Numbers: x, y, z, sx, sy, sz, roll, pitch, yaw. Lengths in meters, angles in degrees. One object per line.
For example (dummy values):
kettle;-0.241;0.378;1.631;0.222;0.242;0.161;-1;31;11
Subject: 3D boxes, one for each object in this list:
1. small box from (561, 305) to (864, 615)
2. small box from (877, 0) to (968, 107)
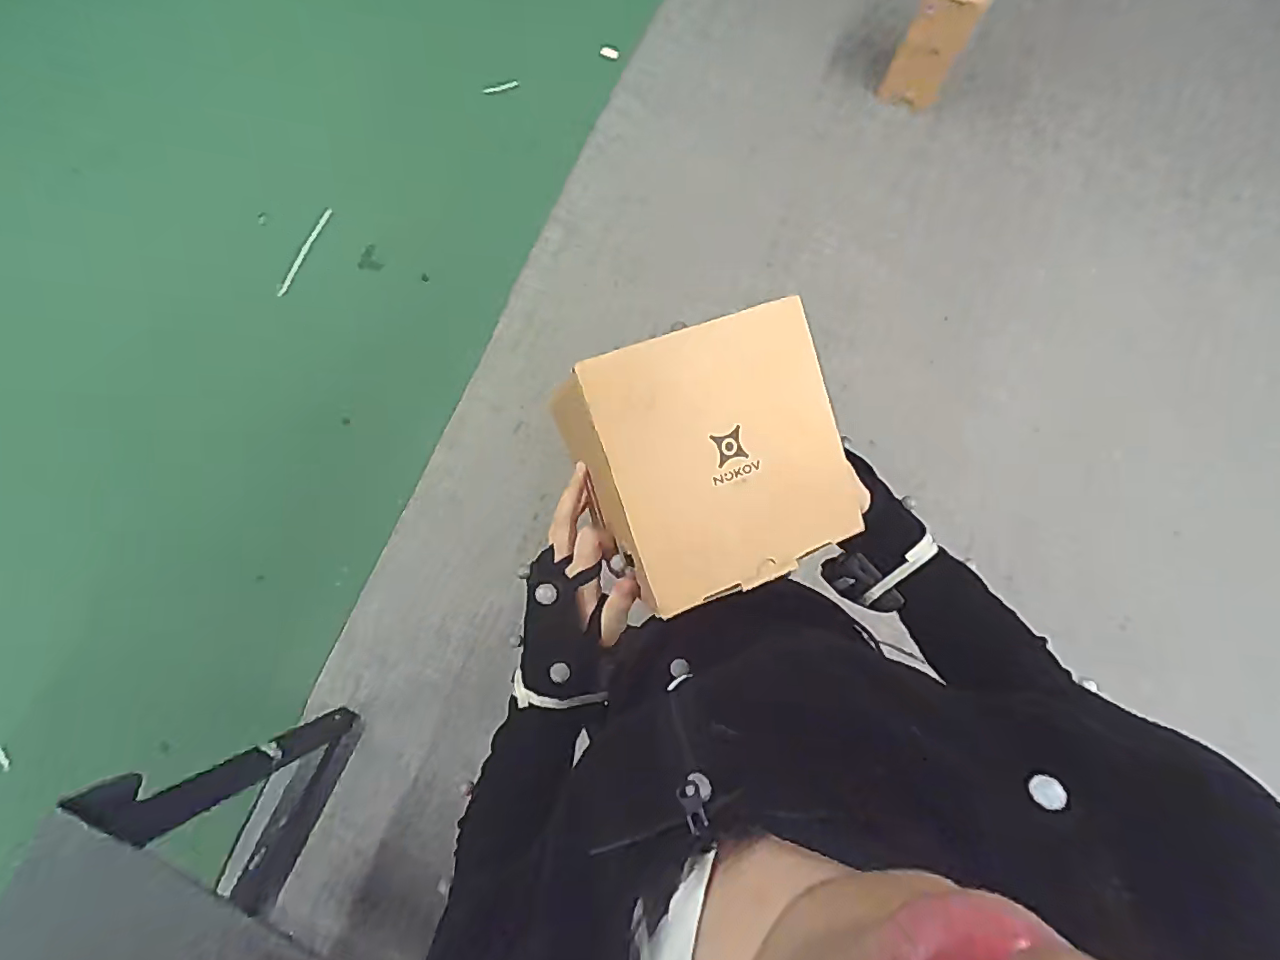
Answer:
small box;0.044;-0.019;0.444;0.168;0.176;0.179;-20;99;-14
small box;0.854;-1.300;1.652;0.168;0.176;0.179;23;83;5
